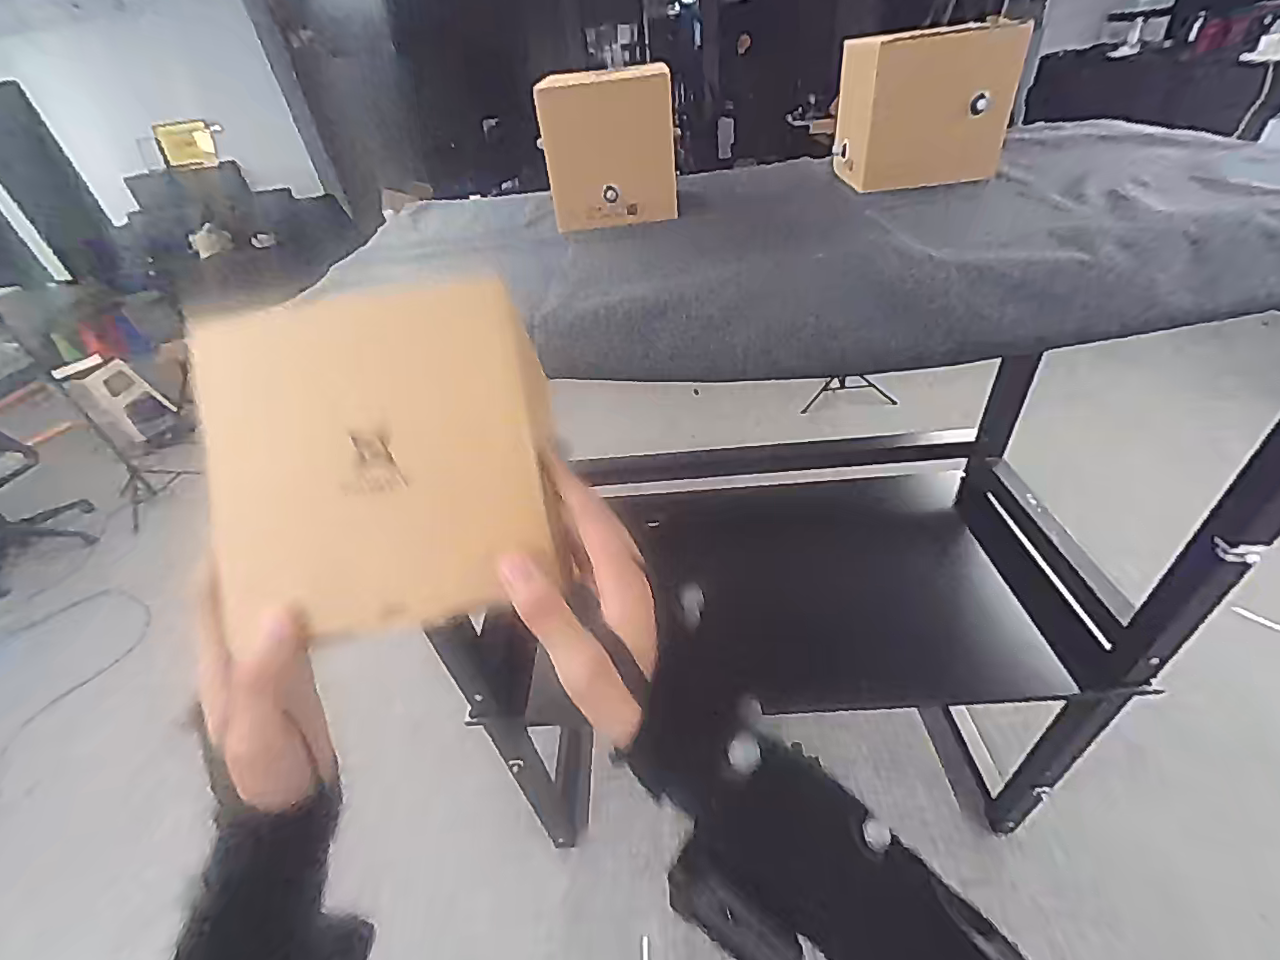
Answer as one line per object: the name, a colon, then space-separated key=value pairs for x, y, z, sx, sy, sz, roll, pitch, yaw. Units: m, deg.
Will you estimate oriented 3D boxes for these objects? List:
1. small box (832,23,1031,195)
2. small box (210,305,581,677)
small box: x=0.378 y=-0.506 z=0.742 sx=0.179 sy=0.176 sz=0.168 roll=-3 pitch=38 yaw=5
small box: x=-0.137 y=0.011 z=0.363 sx=0.168 sy=0.176 sz=0.179 roll=-11 pitch=84 yaw=-4
